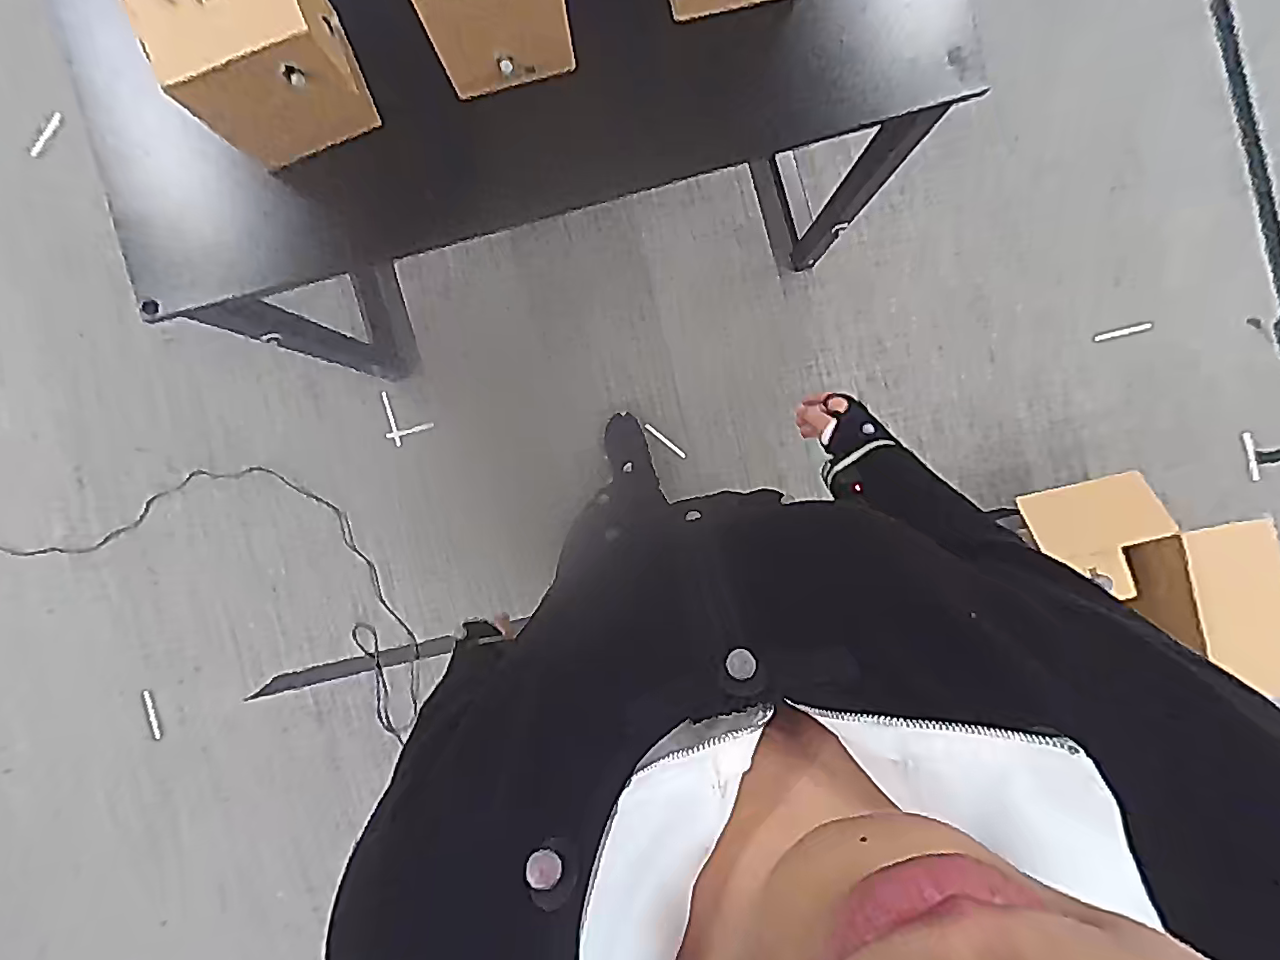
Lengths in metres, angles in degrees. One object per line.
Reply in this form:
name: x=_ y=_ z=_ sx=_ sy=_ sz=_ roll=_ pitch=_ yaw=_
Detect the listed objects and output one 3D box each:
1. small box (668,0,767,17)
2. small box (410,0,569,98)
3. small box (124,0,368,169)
small box: x=0.107 y=-0.716 z=0.653 sx=0.179 sy=0.176 sz=0.168 roll=-13 pitch=92 yaw=2
small box: x=-0.192 y=-0.620 z=0.658 sx=0.168 sy=0.176 sz=0.179 roll=-14 pitch=93 yaw=1
small box: x=-0.467 y=-0.527 z=0.662 sx=0.179 sy=0.176 sz=0.168 roll=-22 pitch=92 yaw=1
